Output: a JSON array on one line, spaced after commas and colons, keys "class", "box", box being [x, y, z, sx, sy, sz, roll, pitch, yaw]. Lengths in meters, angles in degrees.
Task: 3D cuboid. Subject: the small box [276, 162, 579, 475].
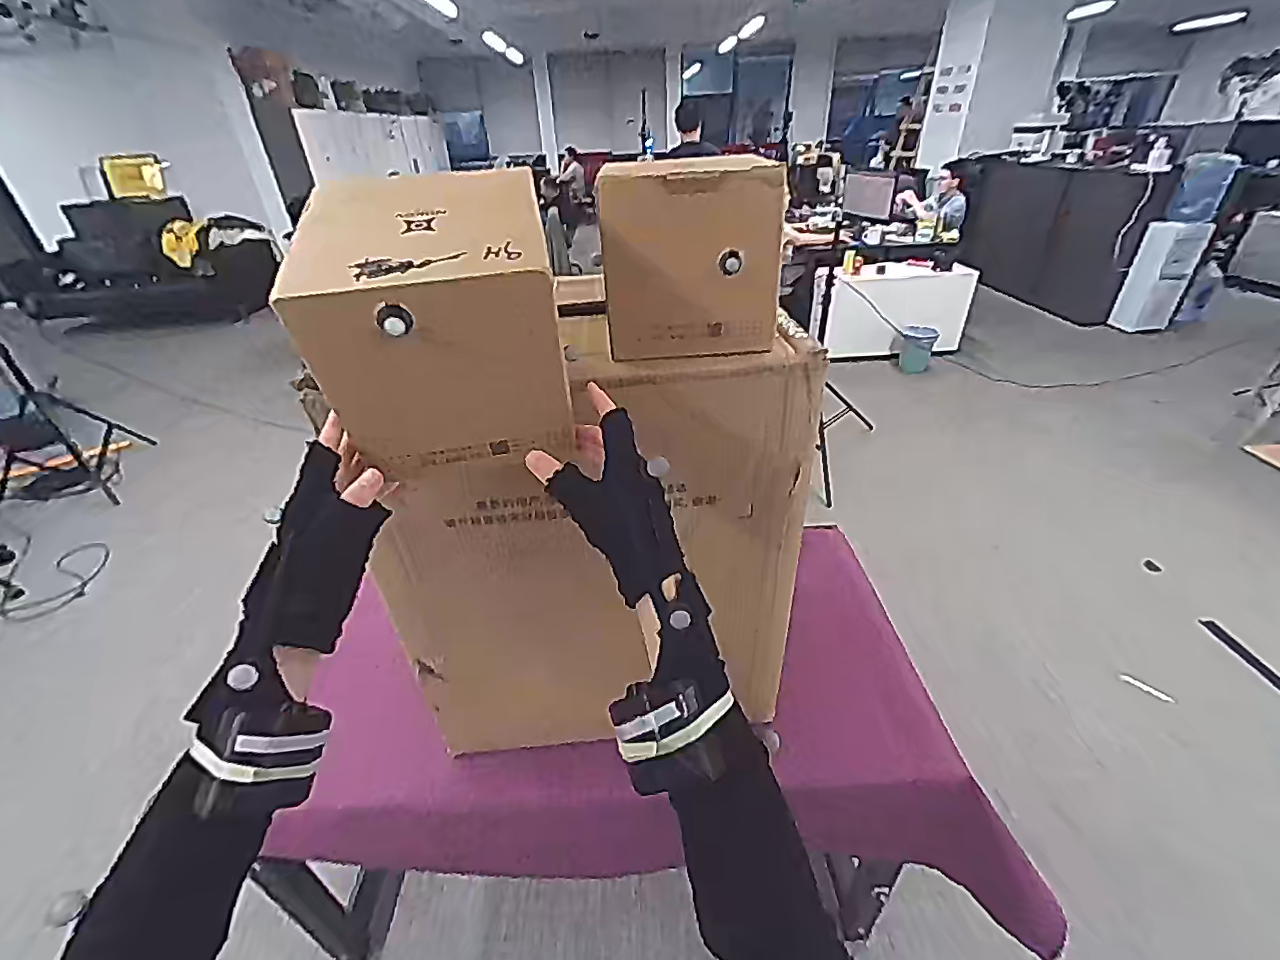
[{"class": "small box", "box": [-0.145, -0.129, 0.433, 0.168, 0.176, 0.179, -9, 50, -7]}]

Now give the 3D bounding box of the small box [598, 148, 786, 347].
[{"class": "small box", "box": [0.050, -0.245, 0.571, 0.168, 0.176, 0.179, -3, 32, 1]}]
